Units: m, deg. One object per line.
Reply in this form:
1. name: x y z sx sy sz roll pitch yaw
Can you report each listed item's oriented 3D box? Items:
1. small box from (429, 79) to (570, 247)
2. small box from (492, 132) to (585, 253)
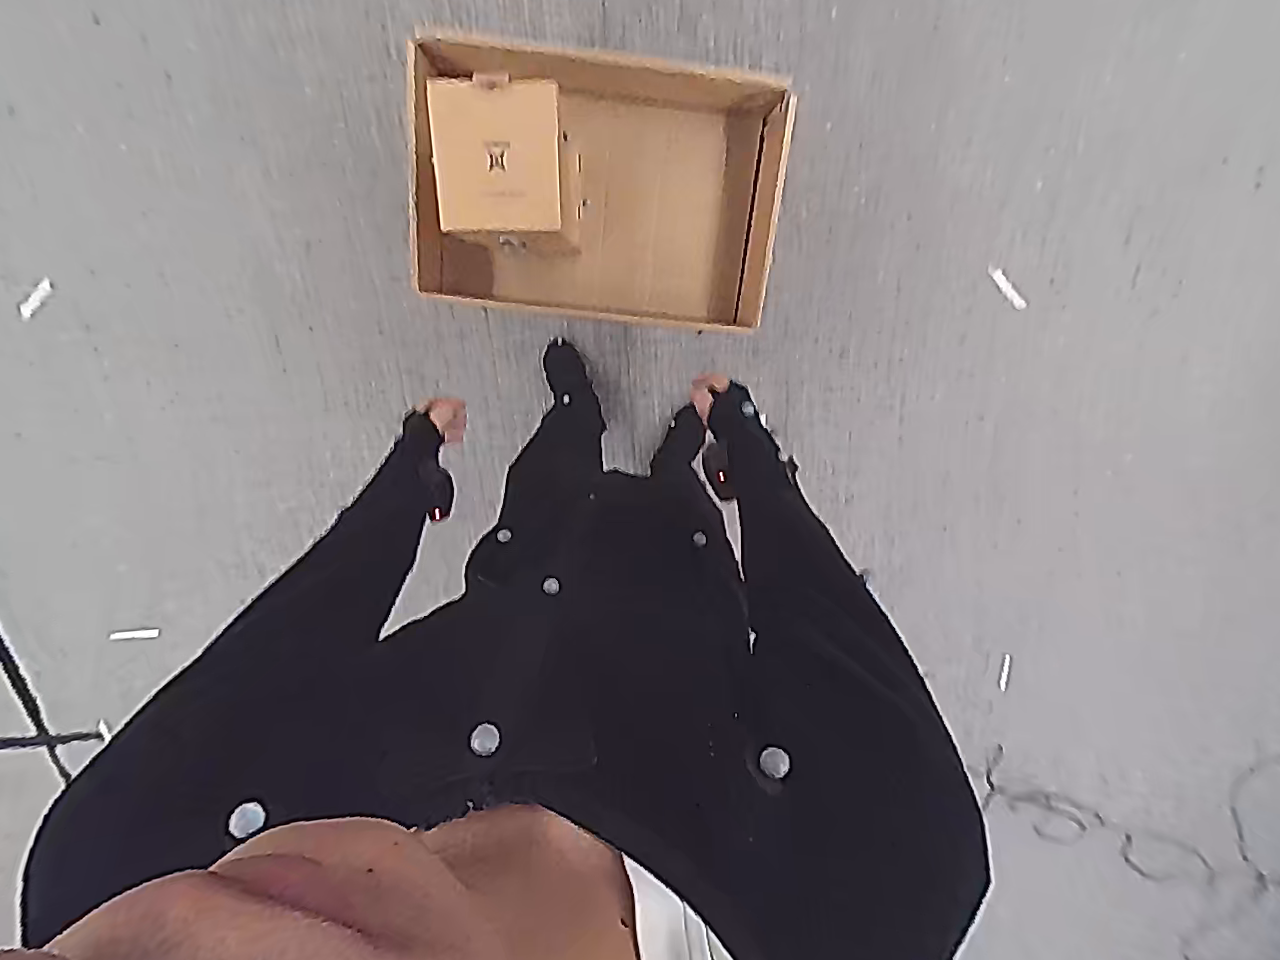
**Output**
1. small box: -0.192 -0.446 0.786 0.168 0.176 0.179 0 107 -2
2. small box: -0.190 -0.494 0.943 0.179 0.176 0.168 1 108 -4
